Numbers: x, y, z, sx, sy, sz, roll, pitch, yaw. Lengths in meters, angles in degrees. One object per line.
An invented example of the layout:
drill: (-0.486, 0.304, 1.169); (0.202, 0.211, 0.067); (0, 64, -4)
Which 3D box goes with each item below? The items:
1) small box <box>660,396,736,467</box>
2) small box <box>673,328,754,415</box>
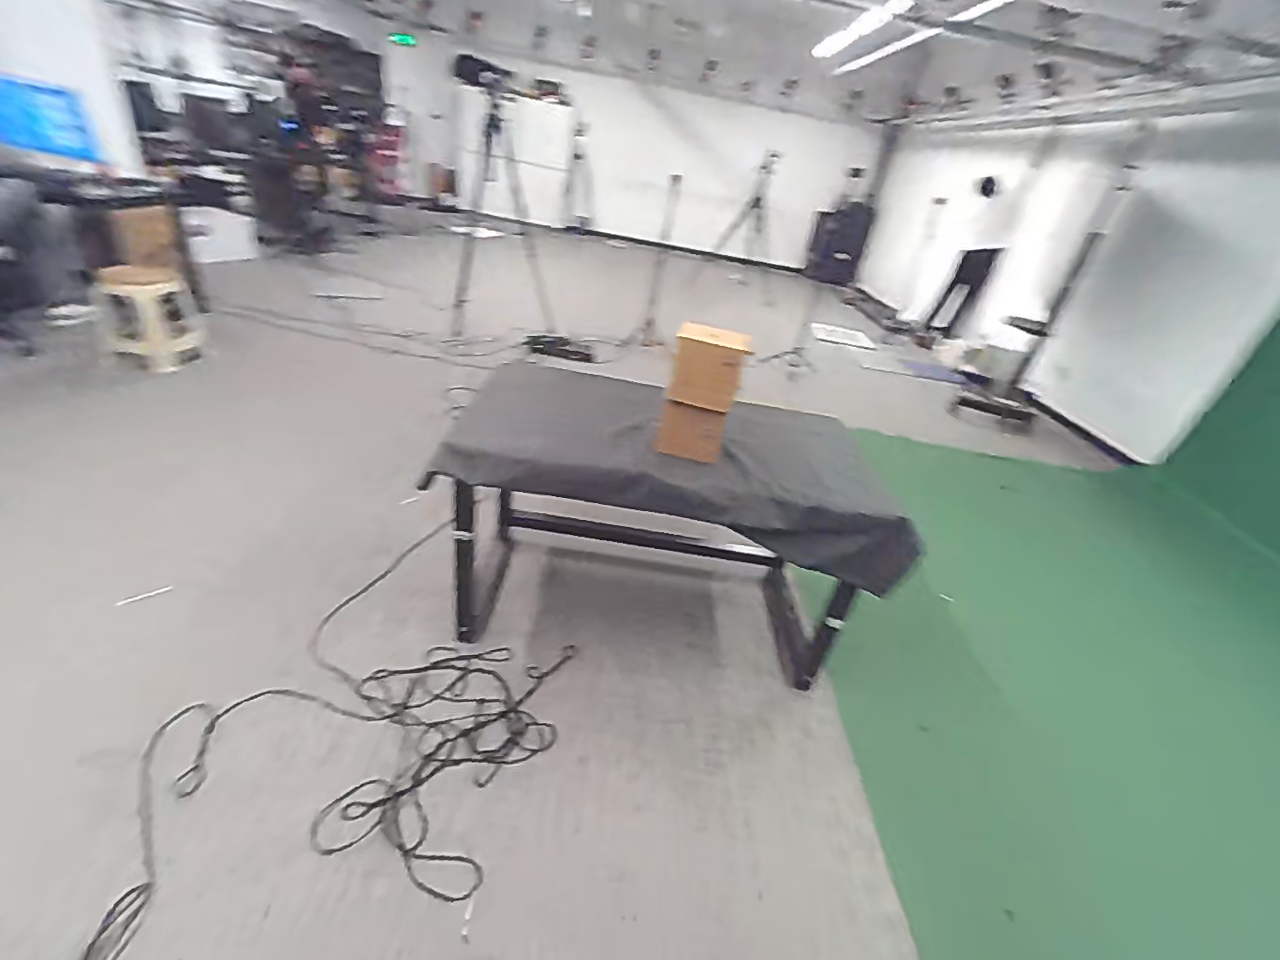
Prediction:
small box: (0.163, -0.153, 1.507); (0.179, 0.176, 0.168); (12, 29, 4)
small box: (0.190, -0.281, 1.408); (0.179, 0.176, 0.168); (14, 29, 5)
